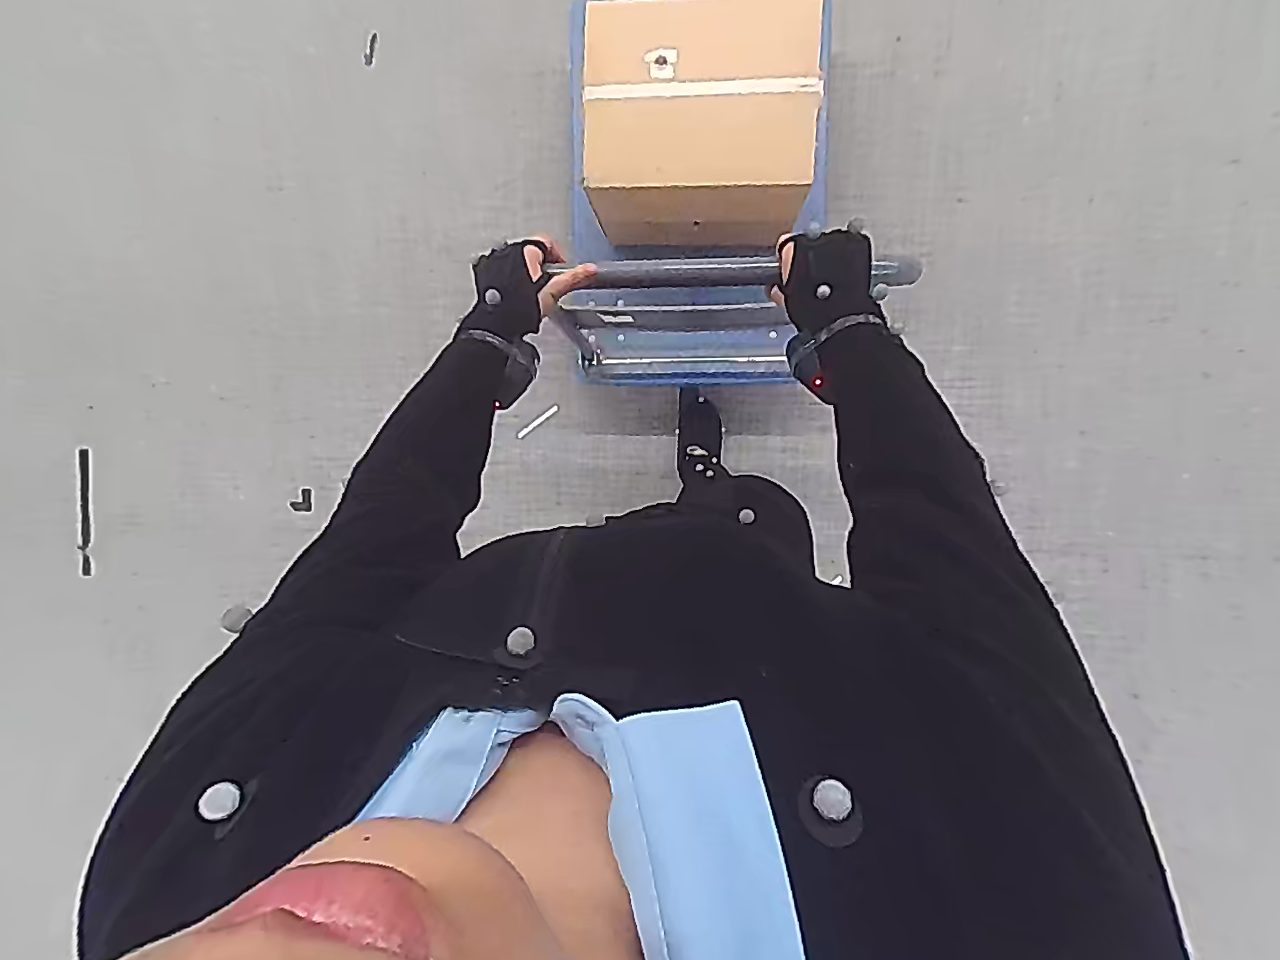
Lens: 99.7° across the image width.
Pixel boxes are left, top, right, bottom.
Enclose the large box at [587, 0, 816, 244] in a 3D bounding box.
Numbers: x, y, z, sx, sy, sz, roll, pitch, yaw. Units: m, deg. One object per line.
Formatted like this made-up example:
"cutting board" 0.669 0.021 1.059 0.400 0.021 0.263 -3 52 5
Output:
"large box" 0.121 -0.688 1.096 0.408 0.320 0.320 2 94 6
